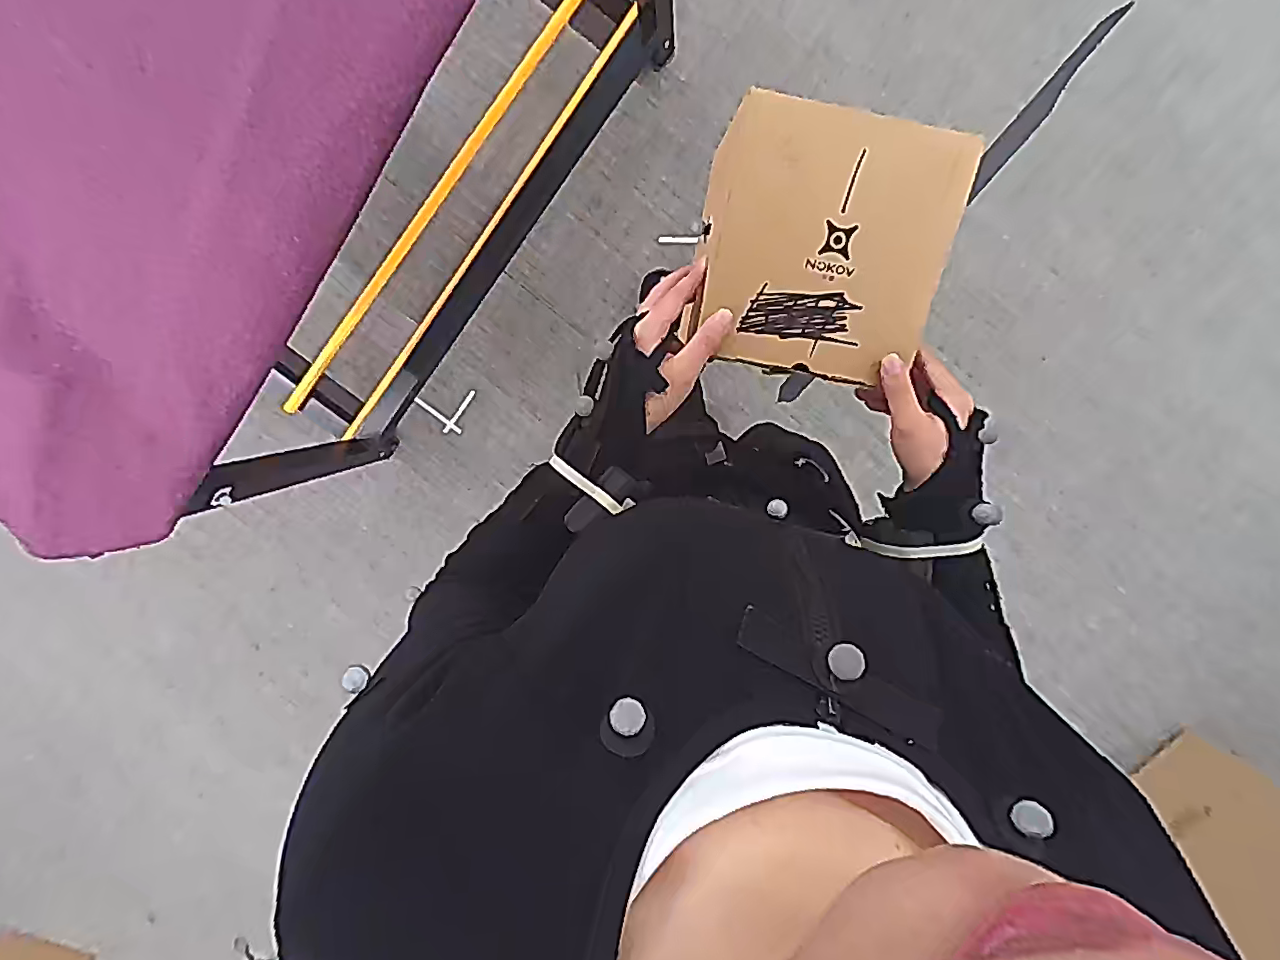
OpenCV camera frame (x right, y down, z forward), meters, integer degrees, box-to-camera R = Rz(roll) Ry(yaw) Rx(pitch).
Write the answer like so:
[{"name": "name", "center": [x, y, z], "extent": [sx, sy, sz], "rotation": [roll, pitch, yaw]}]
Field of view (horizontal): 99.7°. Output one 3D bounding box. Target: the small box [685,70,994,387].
[{"name": "small box", "center": [0.136, -0.188, 0.447], "extent": [0.168, 0.176, 0.179], "rotation": [10, 107, -4]}]
